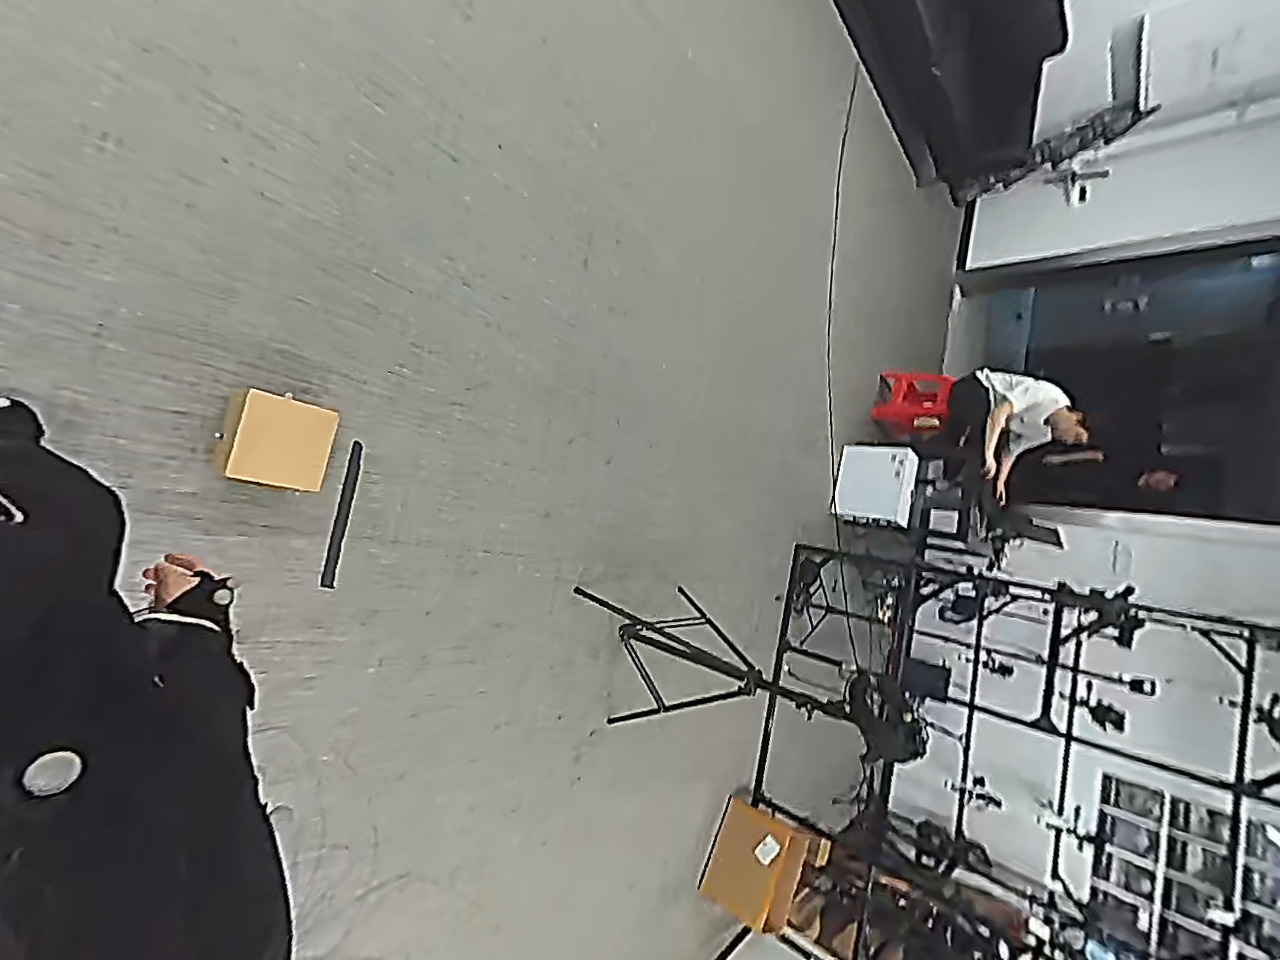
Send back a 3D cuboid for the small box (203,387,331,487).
[{"bbox_3d":[-0.776,-0.086,1.127,0.168,0.176,0.179,19,81,-47],"label":"small box"}]
